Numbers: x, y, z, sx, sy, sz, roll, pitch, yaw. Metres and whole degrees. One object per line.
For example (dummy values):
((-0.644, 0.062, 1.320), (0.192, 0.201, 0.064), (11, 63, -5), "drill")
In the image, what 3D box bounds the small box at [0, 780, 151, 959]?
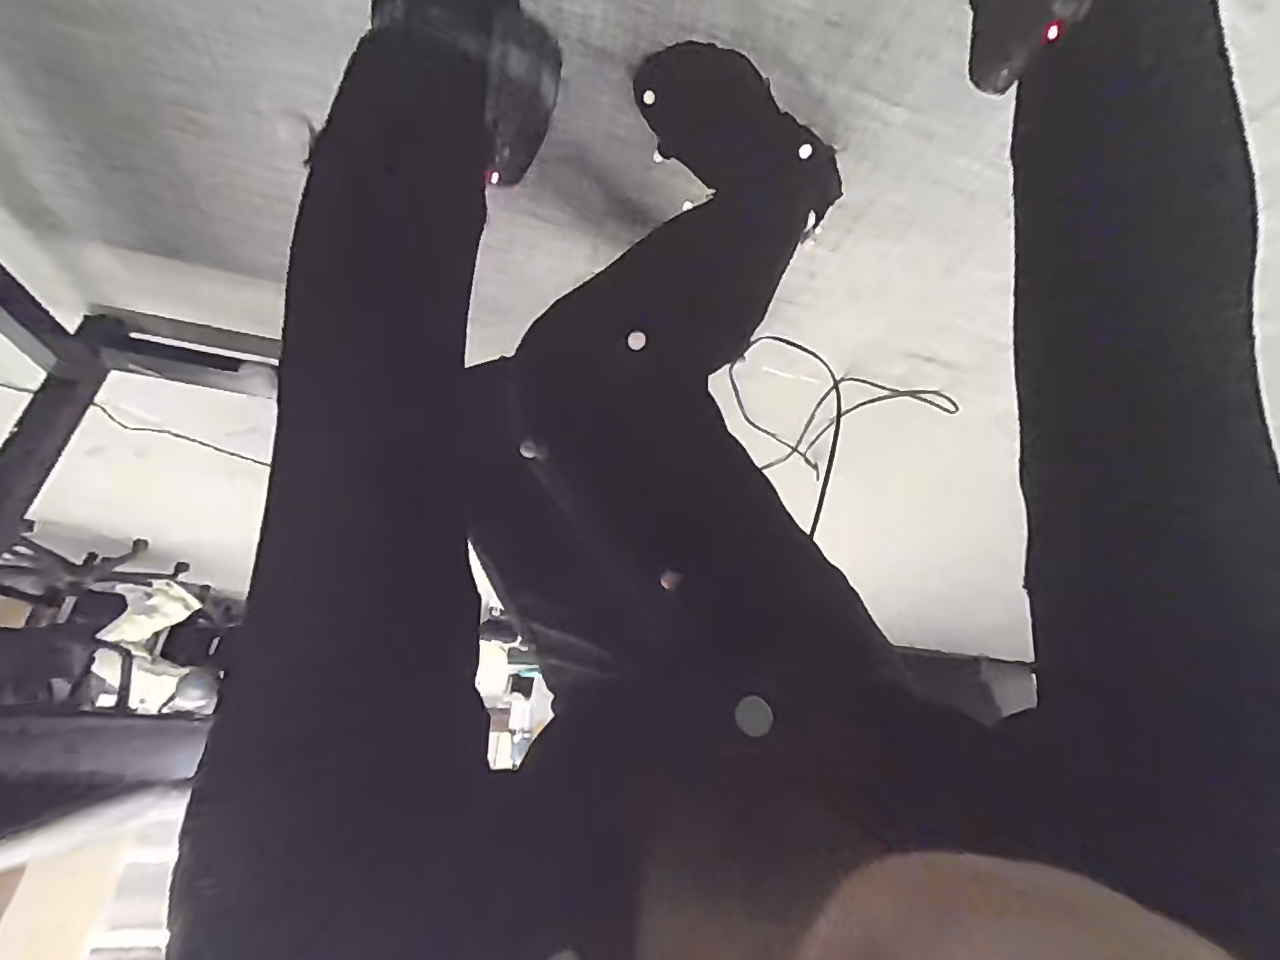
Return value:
((-0.547, 0.332, 0.414), (0.179, 0.176, 0.168), (13, 153, -13), "small box")
